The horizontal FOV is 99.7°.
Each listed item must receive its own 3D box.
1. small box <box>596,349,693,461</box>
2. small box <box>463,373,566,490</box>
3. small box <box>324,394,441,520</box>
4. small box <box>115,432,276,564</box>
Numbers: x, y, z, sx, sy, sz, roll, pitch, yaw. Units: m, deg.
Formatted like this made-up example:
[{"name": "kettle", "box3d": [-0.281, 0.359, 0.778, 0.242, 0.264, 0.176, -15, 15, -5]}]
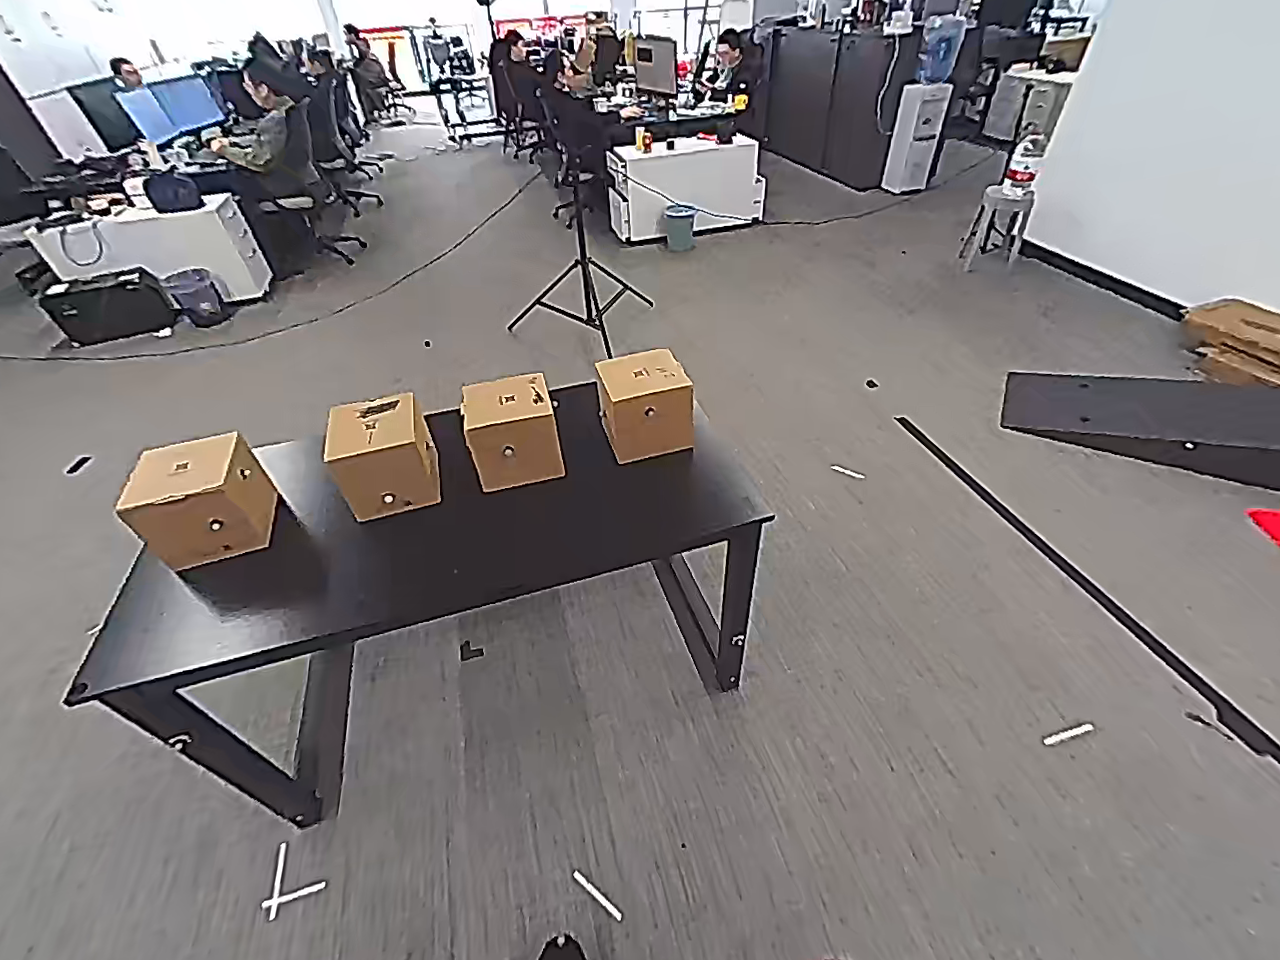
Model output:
[{"name": "small box", "box3d": [0.012, -0.163, 1.196, 0.179, 0.176, 0.168, -13, 43, -10]}, {"name": "small box", "box3d": [-0.265, -0.100, 1.150, 0.179, 0.176, 0.168, -13, 43, -9]}, {"name": "small box", "box3d": [-0.516, -0.047, 1.106, 0.168, 0.176, 0.179, -14, 44, -11]}, {"name": "small box", "box3d": [-0.829, 0.039, 1.033, 0.168, 0.176, 0.179, -15, 43, -14]}]
